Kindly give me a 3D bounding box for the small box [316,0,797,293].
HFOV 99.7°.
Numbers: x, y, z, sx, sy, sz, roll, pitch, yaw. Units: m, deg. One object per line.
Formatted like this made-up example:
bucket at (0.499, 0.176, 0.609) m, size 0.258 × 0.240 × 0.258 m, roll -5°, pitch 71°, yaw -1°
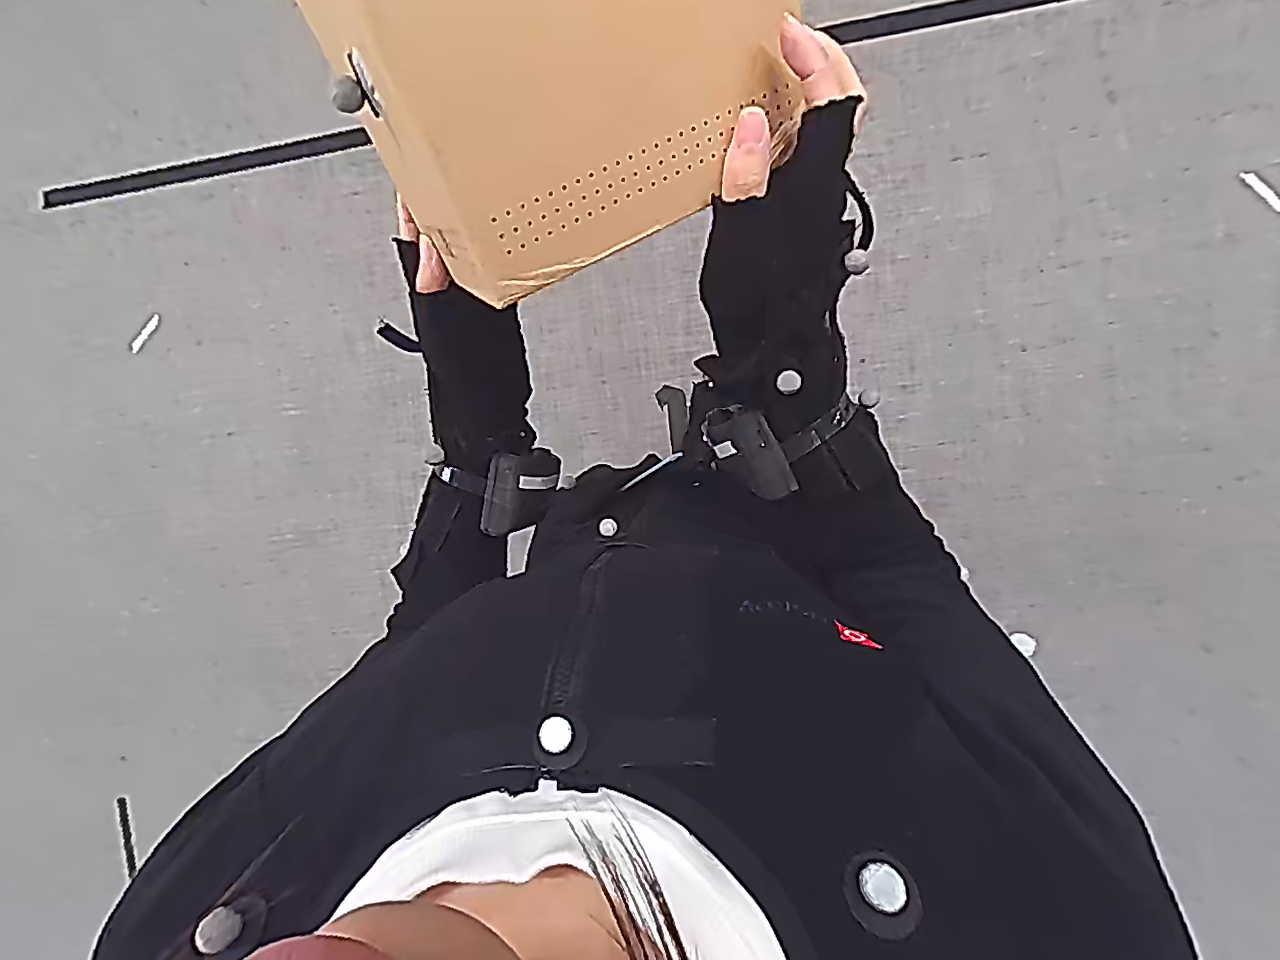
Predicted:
small box at (-0.044, -0.216, 0.280) m, size 0.179 × 0.168 × 0.176 m, roll -31°, pitch 125°, yaw -11°
